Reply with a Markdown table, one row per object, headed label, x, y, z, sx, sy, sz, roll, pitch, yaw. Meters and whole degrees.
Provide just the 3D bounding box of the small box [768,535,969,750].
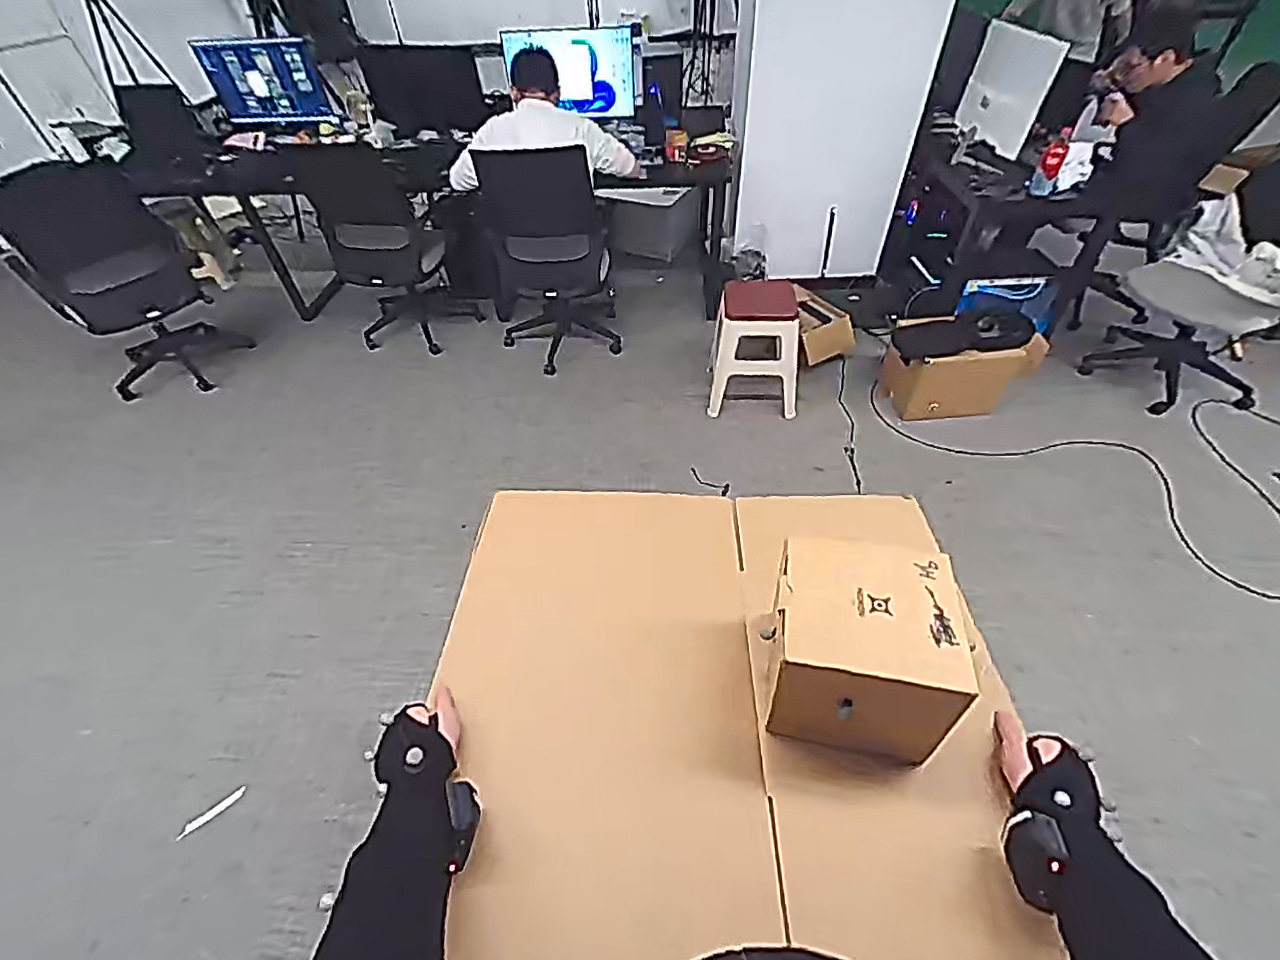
| label | x | y | z | sx | sy | sz | roll | pitch | yaw |
| --- | --- | --- | --- | --- | --- | --- | --- | --- | --- |
| small box | 0.244 | 0.186 | 0.622 | 0.179 | 0.176 | 0.168 | 5 | 45 | 12 |
